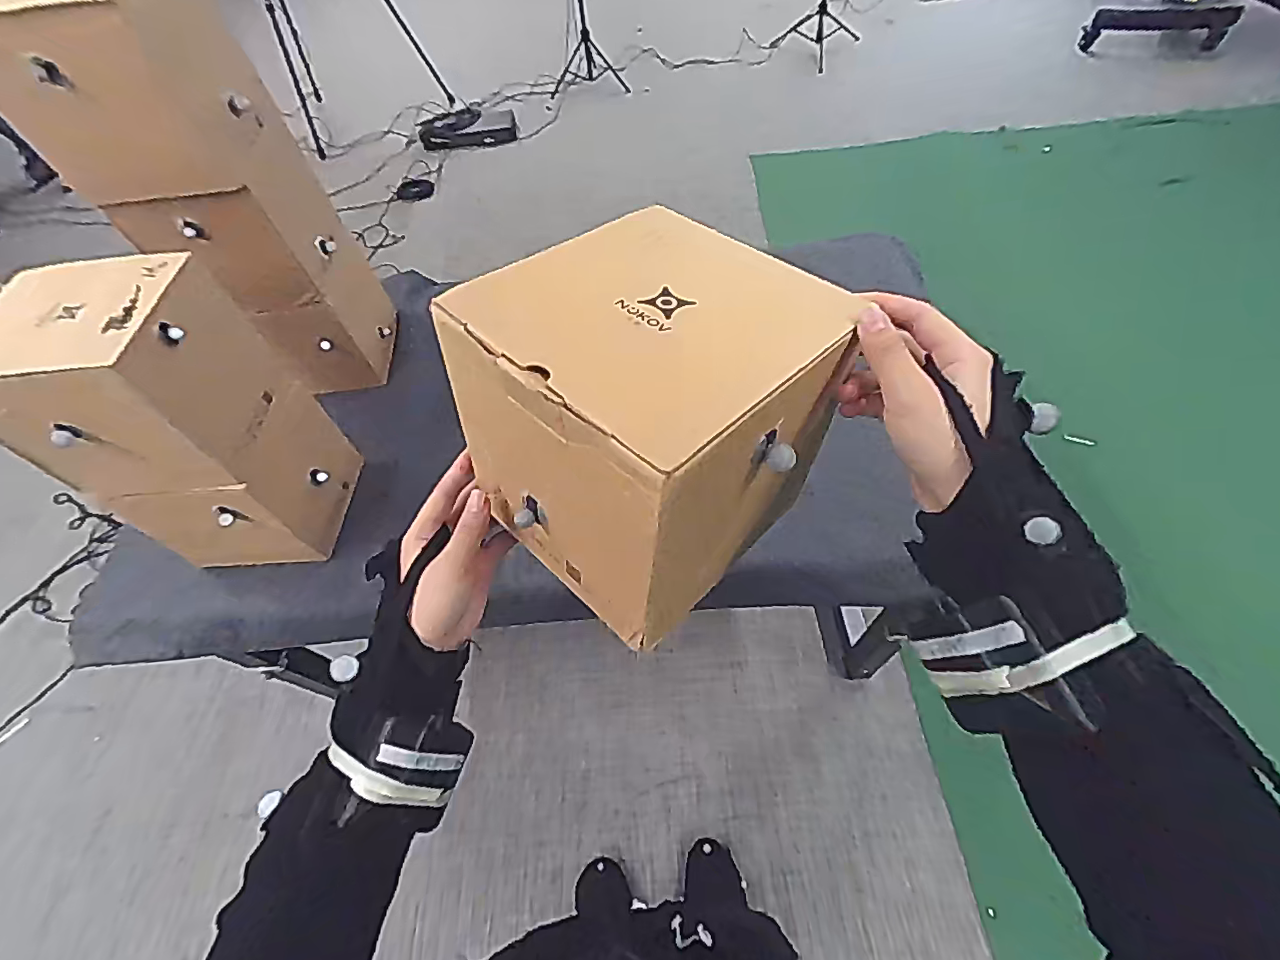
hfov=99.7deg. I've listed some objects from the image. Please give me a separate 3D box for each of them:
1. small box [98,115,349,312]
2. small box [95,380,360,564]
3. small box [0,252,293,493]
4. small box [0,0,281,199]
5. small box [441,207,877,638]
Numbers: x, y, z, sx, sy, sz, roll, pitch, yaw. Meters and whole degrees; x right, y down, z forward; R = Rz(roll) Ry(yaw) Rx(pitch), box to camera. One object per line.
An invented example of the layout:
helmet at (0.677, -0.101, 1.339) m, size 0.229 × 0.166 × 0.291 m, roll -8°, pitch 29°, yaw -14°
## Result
small box at (-0.522, -0.340, 0.710) m, size 0.179 × 0.176 × 0.168 m, roll -7°, pitch 59°, yaw -1°
small box at (-0.490, -0.005, 0.681) m, size 0.179 × 0.176 × 0.168 m, roll -3°, pitch 54°, yaw 3°
small box at (-0.506, -0.101, 0.549) m, size 0.179 × 0.176 × 0.168 m, roll -7°, pitch 55°, yaw 1°
small box at (-0.529, -0.419, 0.566) m, size 0.179 × 0.176 × 0.168 m, roll -6°, pitch 59°, yaw 0°
small box at (0.008, -0.039, 0.344) m, size 0.168 × 0.176 × 0.179 m, roll 37°, pitch 57°, yaw 25°
